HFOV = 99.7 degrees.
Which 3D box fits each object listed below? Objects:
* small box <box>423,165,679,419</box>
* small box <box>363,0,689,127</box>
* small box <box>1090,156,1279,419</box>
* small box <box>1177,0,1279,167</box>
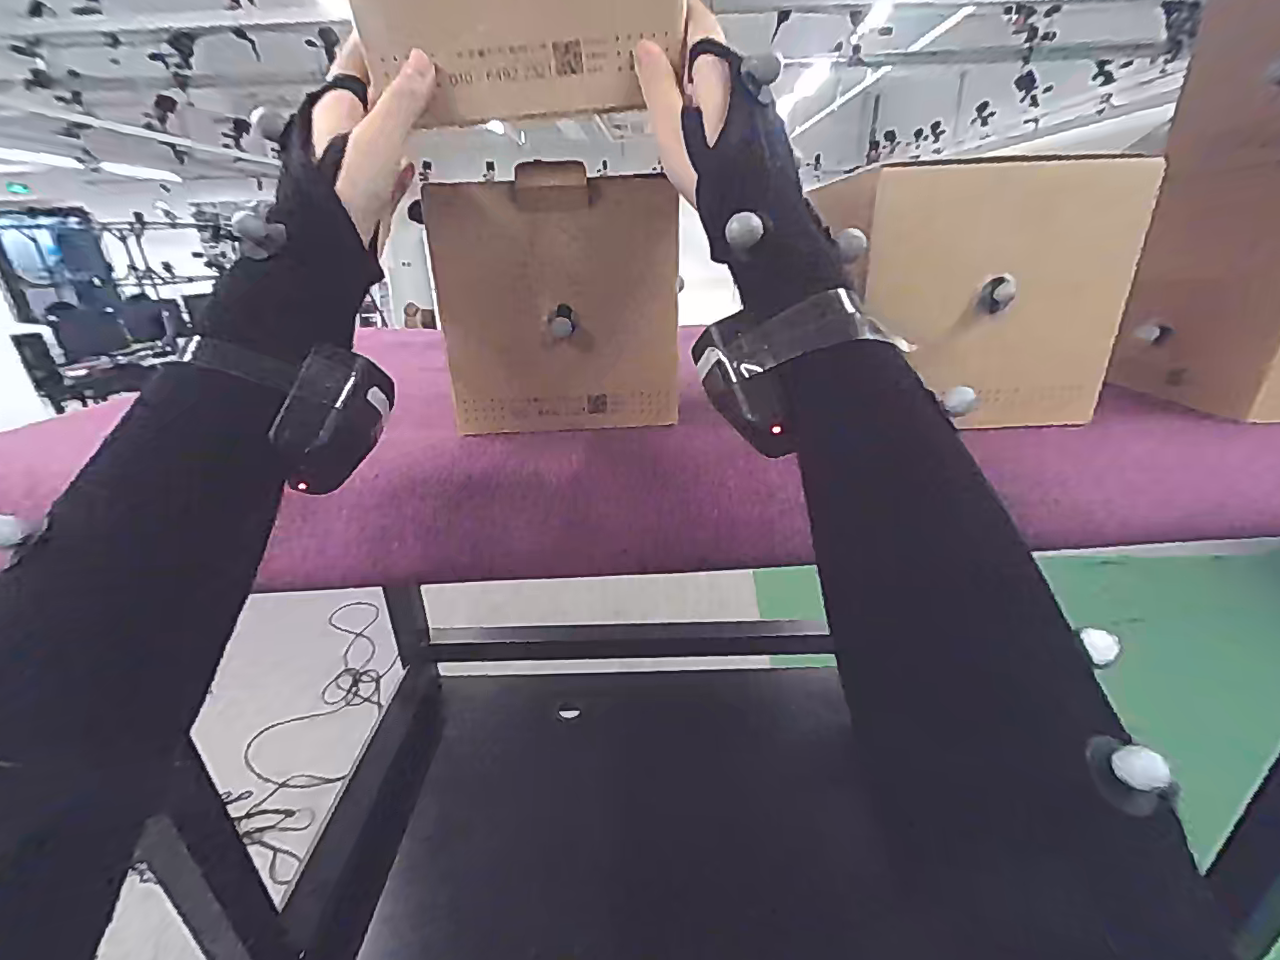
[{"bbox_3d":[-0.057,-0.150,0.446,0.168,0.176,0.179,-2,23,-3],"label":"small box"},{"bbox_3d":[-0.064,-0.314,0.312,0.168,0.176,0.179,-6,33,0],"label":"small box"},{"bbox_3d":[0.505,-0.150,0.412,0.179,0.176,0.168,-2,23,2],"label":"small box"},{"bbox_3d":[0.501,-0.292,0.327,0.179,0.176,0.168,-2,23,1],"label":"small box"}]
